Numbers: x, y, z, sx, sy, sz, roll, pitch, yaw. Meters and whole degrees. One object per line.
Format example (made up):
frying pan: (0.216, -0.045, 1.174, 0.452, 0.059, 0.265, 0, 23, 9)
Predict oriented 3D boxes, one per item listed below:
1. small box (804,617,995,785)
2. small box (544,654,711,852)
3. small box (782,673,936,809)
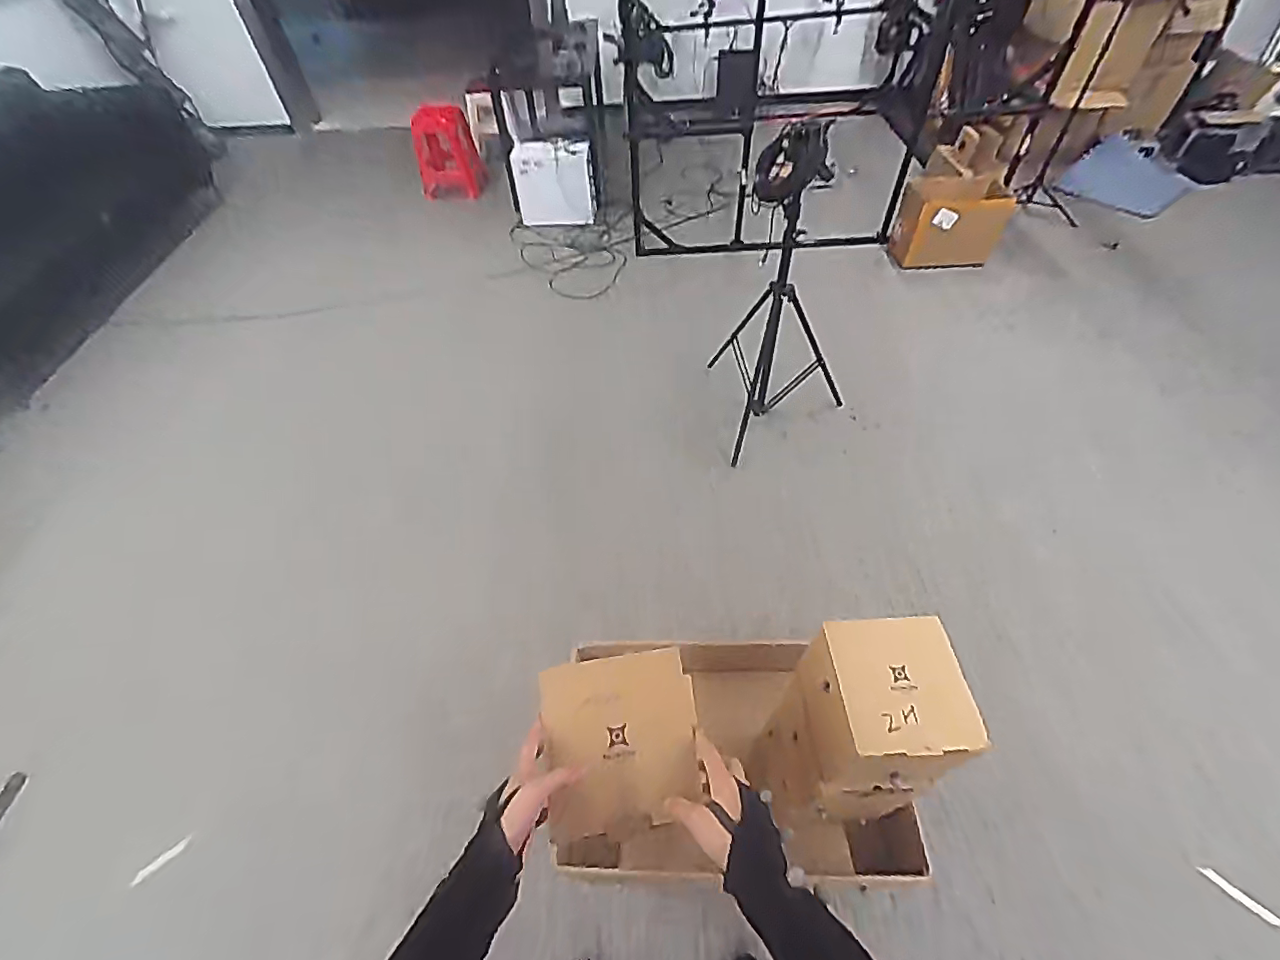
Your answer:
small box: (0.342, 0.311, 0.758, 0.168, 0.176, 0.179, -3, 51, 0)
small box: (-0.012, 0.317, 0.655, 0.168, 0.176, 0.179, -9, 67, 0)
small box: (0.339, 0.425, 0.878, 0.168, 0.176, 0.179, -3, 51, 0)
